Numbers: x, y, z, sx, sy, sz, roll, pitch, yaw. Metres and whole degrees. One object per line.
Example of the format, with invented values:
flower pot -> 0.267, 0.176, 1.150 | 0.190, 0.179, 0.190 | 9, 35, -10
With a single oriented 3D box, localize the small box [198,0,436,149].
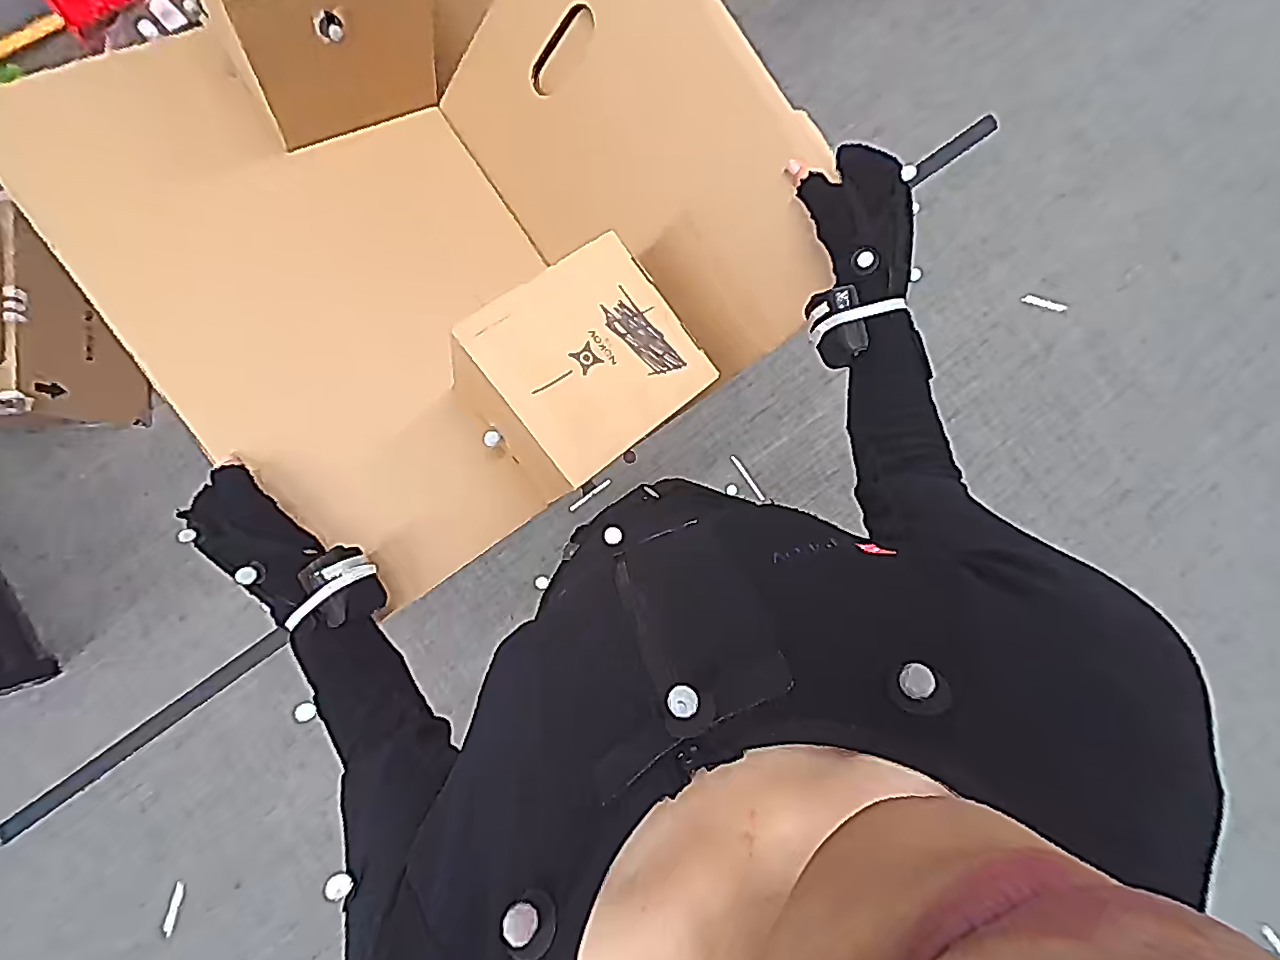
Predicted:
small box -> -0.316, -0.461, 0.516 | 0.179, 0.176, 0.168 | -33, 93, -19
